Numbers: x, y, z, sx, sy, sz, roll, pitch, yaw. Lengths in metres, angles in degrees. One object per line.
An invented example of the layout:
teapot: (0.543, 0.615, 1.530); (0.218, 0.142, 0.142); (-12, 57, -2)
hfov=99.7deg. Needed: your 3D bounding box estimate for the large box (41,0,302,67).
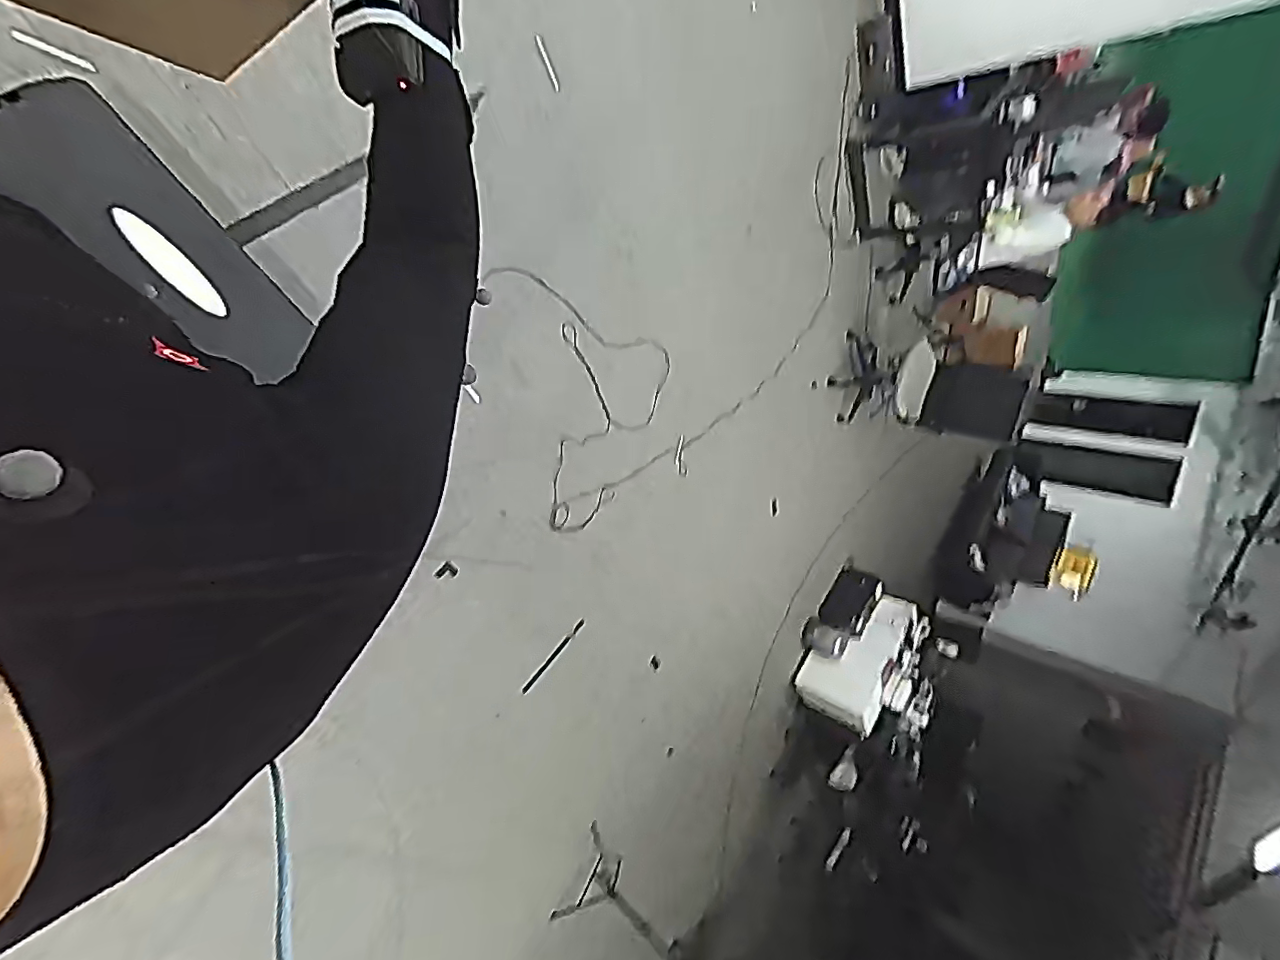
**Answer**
large box: (-0.443, -0.522, 0.299); (0.408, 0.320, 0.320); (-6, 111, -48)
